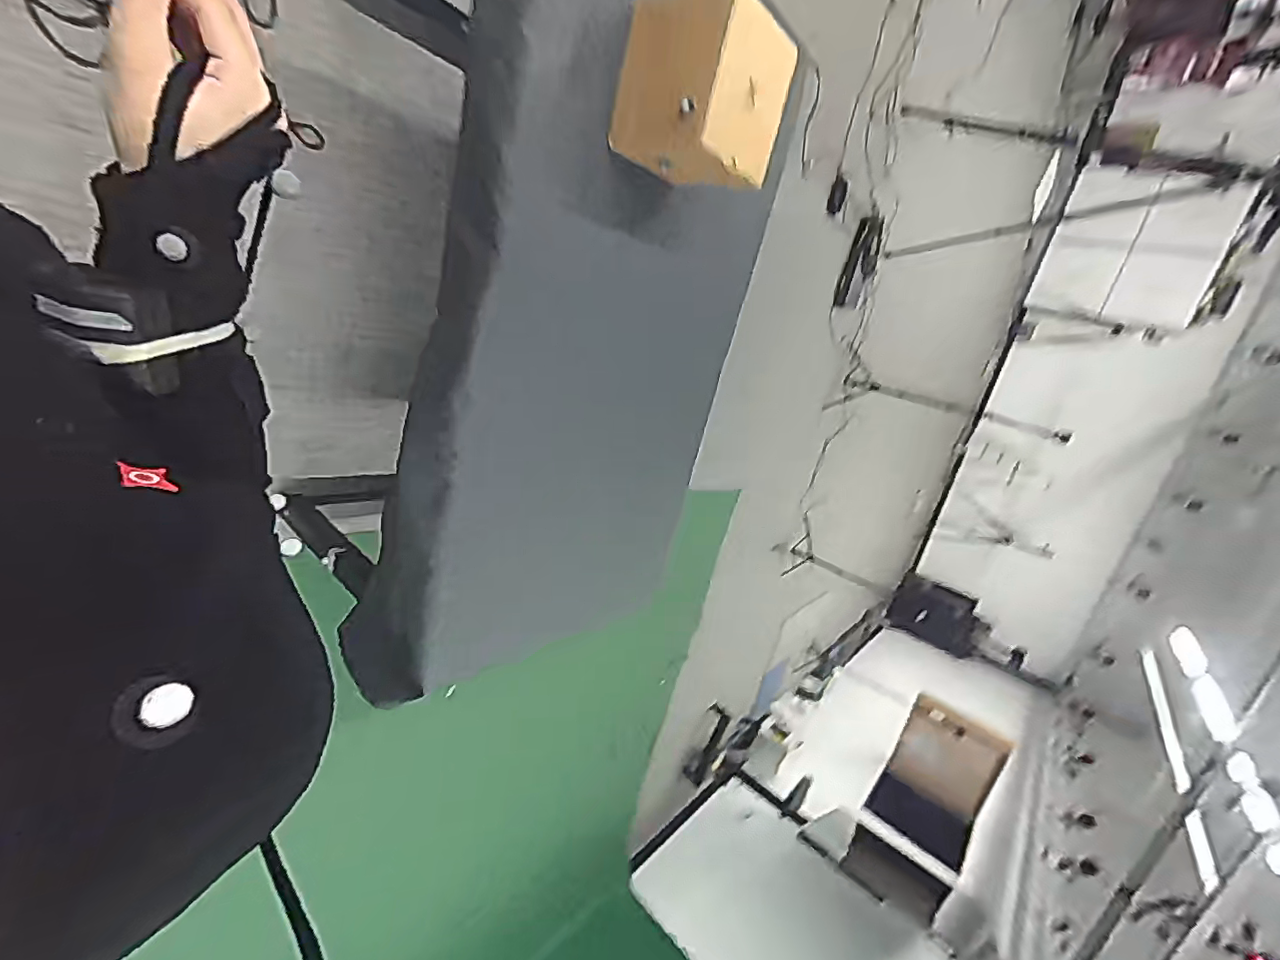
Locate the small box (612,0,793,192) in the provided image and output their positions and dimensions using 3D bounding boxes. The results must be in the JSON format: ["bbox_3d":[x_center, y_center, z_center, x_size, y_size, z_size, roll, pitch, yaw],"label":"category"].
[{"bbox_3d":[0.083,-0.529,0.757,0.168,0.176,0.179,-8,118,-51],"label":"small box"}]
